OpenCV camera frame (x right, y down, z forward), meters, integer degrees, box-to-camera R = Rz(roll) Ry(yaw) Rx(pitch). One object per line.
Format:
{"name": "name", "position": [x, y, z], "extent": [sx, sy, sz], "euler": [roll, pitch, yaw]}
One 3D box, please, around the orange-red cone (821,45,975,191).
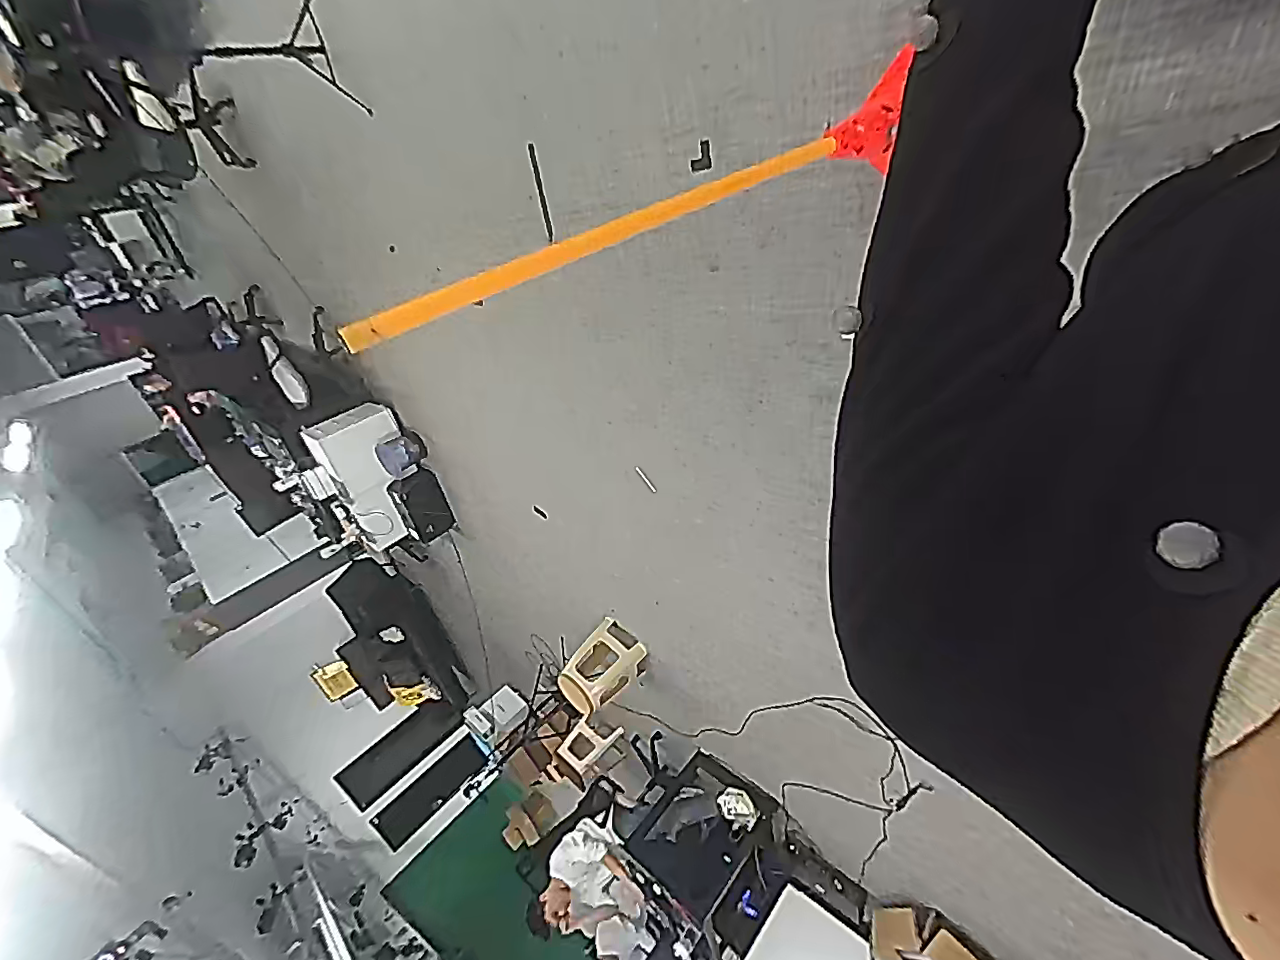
{"name": "orange-red cone", "position": [0.434, -0.649, 1.006], "extent": [0.198, 0.360, 0.199], "euler": [49, 144, 5]}
